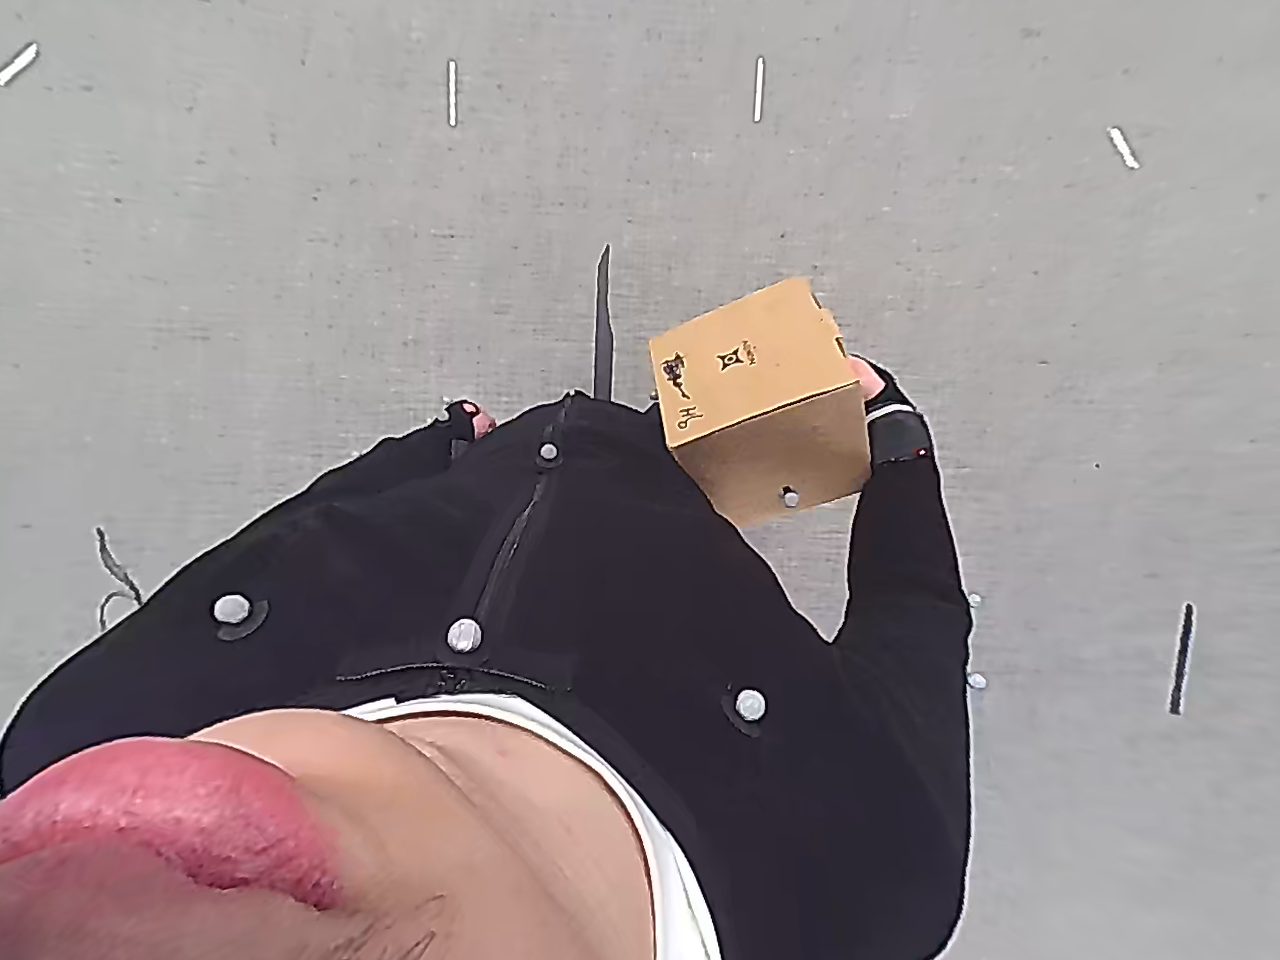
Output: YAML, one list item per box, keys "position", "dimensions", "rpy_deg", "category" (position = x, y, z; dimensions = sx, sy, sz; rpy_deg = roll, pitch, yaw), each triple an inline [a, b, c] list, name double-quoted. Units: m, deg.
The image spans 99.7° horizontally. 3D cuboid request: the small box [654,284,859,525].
- position: [0.132, -0.075, 0.602]
  dimensions: [0.179, 0.168, 0.176]
  rpy_deg: [-19, 139, 14]
  category: "small box"
